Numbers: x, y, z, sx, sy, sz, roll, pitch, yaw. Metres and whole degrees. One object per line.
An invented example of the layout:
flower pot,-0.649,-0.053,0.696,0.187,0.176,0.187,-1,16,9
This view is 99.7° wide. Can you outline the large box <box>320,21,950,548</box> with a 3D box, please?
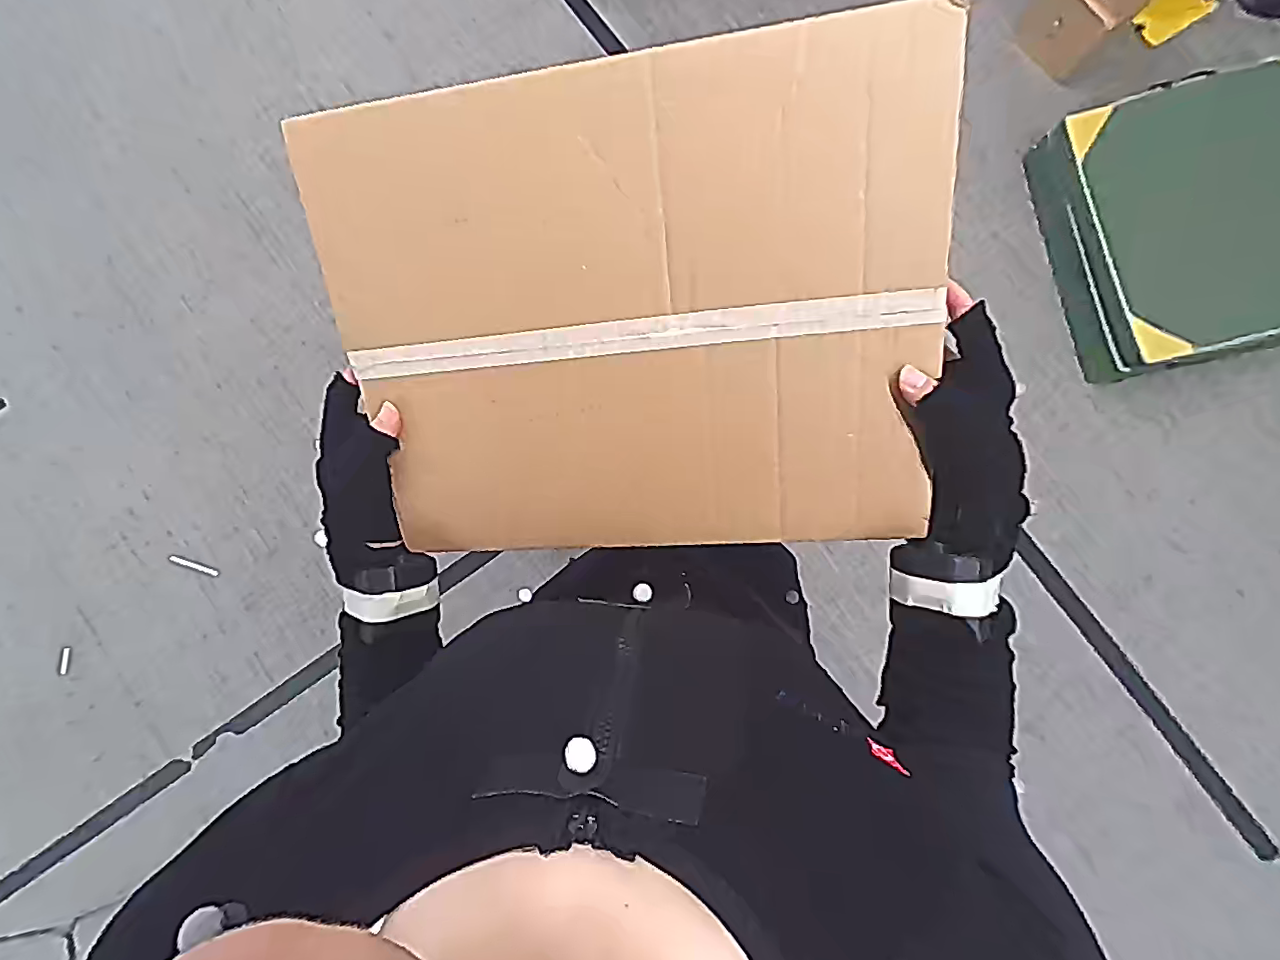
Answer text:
large box,0.012,-0.148,0.518,0.408,0.320,0.320,-3,111,10
